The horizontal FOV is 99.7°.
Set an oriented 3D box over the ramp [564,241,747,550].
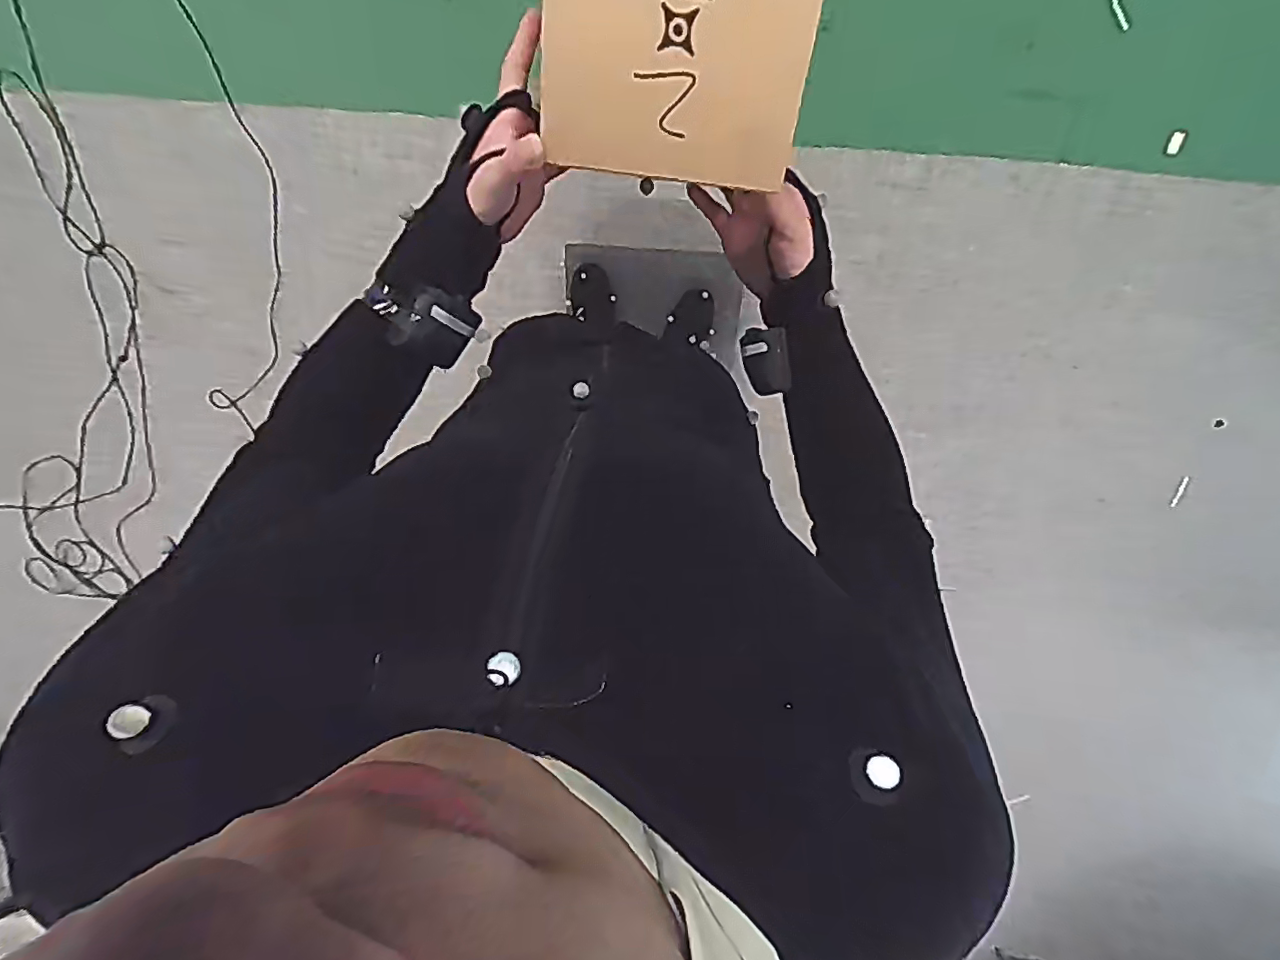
[{"bbox_3d":[0.021,-0.191,1.676,0.509,0.206,0.991,3,112,2],"label":"ramp"}]
